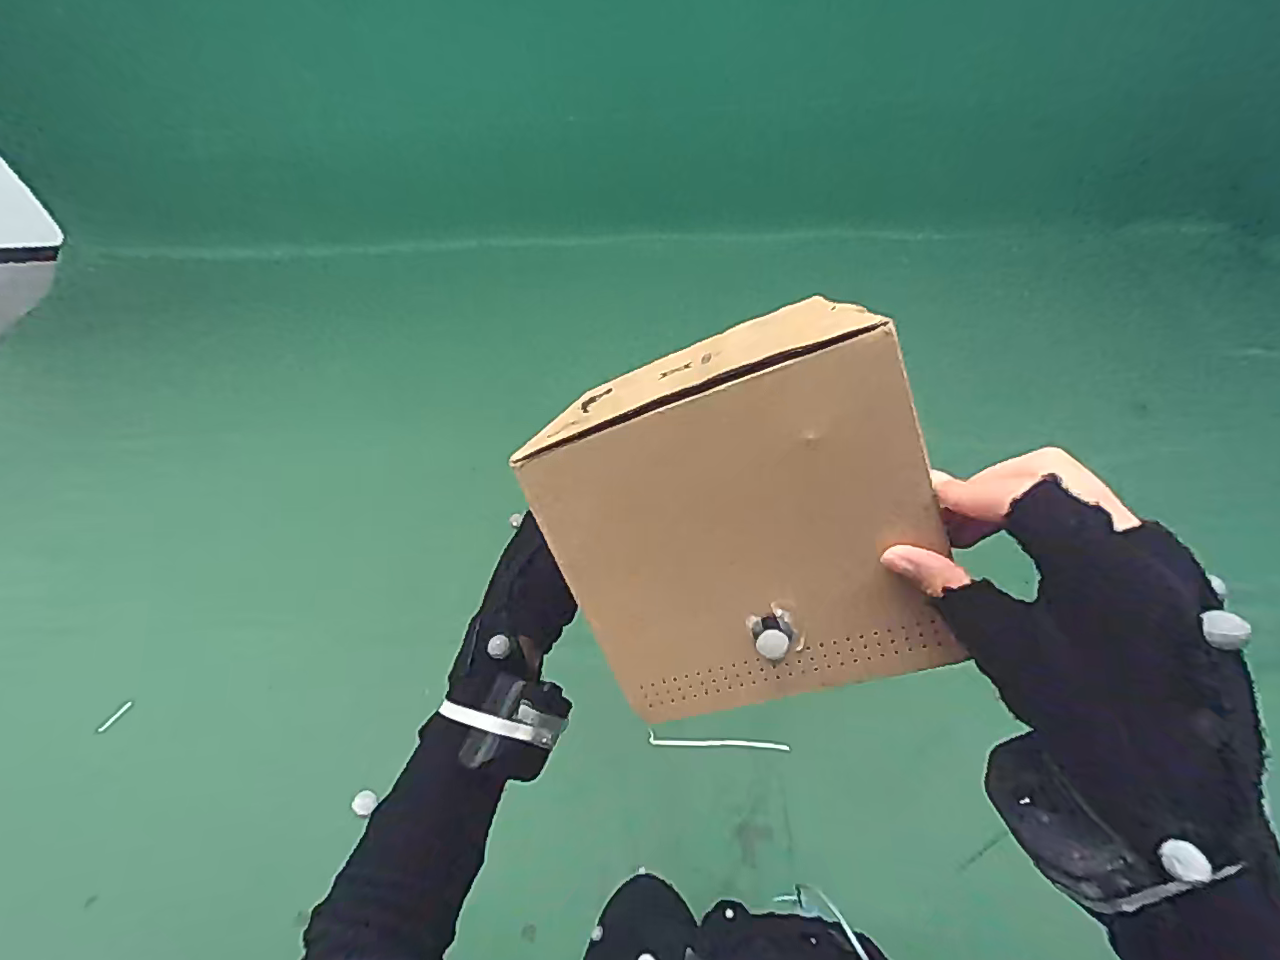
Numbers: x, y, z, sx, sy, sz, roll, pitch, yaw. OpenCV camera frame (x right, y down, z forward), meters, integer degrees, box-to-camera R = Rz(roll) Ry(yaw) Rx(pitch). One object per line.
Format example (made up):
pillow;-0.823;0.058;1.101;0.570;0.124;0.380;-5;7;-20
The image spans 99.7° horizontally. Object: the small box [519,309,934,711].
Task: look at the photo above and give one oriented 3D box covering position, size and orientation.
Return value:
small box;0.061;0.011;0.337;0.179;0.176;0.168;-19;16;15
